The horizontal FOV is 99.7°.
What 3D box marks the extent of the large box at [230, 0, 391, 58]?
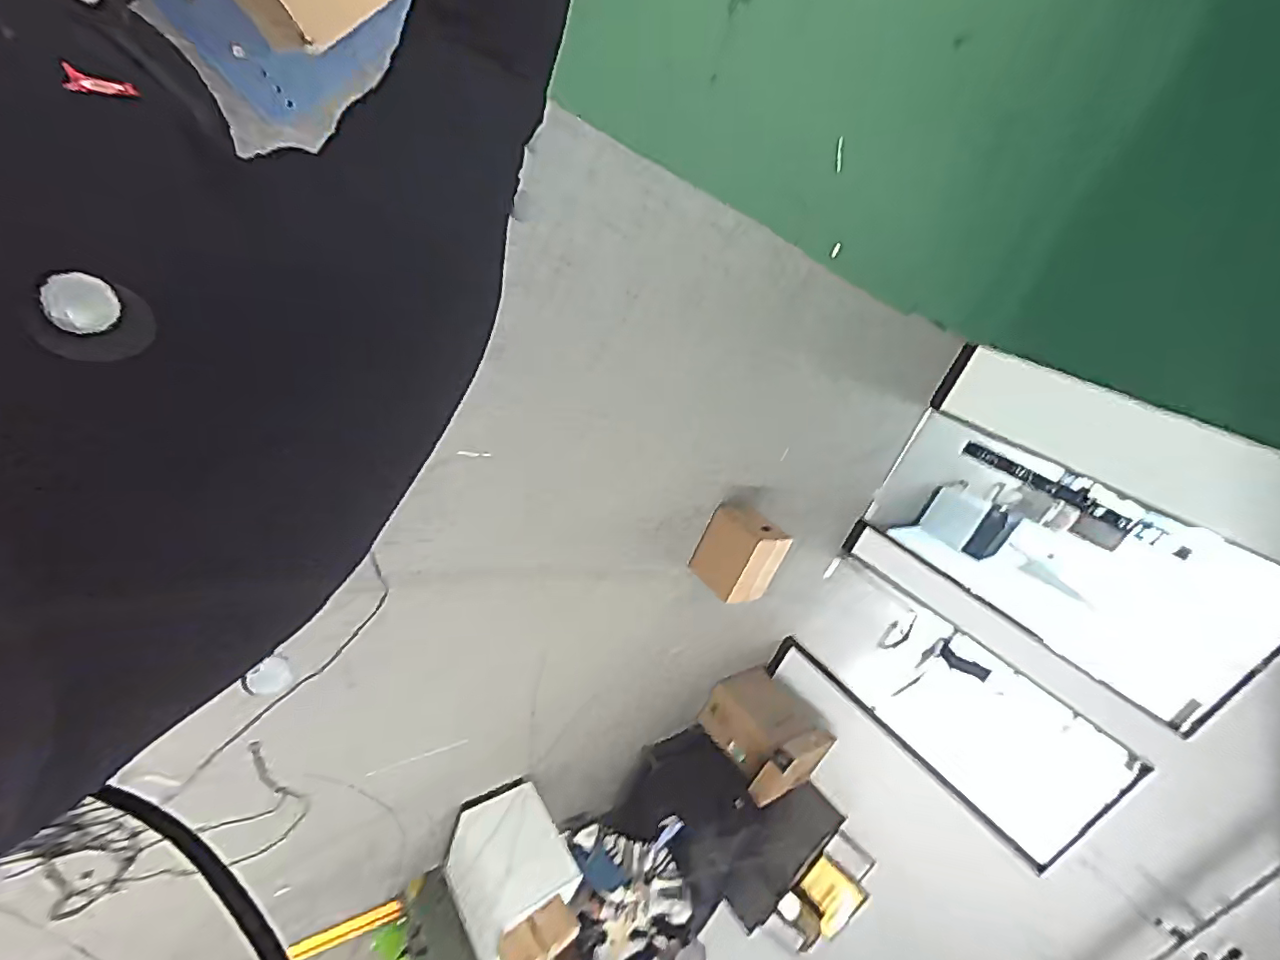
[{"bbox_3d":[-0.428,-0.836,0.695,0.408,0.320,0.320,-43,140,-6],"label":"large box"}]
